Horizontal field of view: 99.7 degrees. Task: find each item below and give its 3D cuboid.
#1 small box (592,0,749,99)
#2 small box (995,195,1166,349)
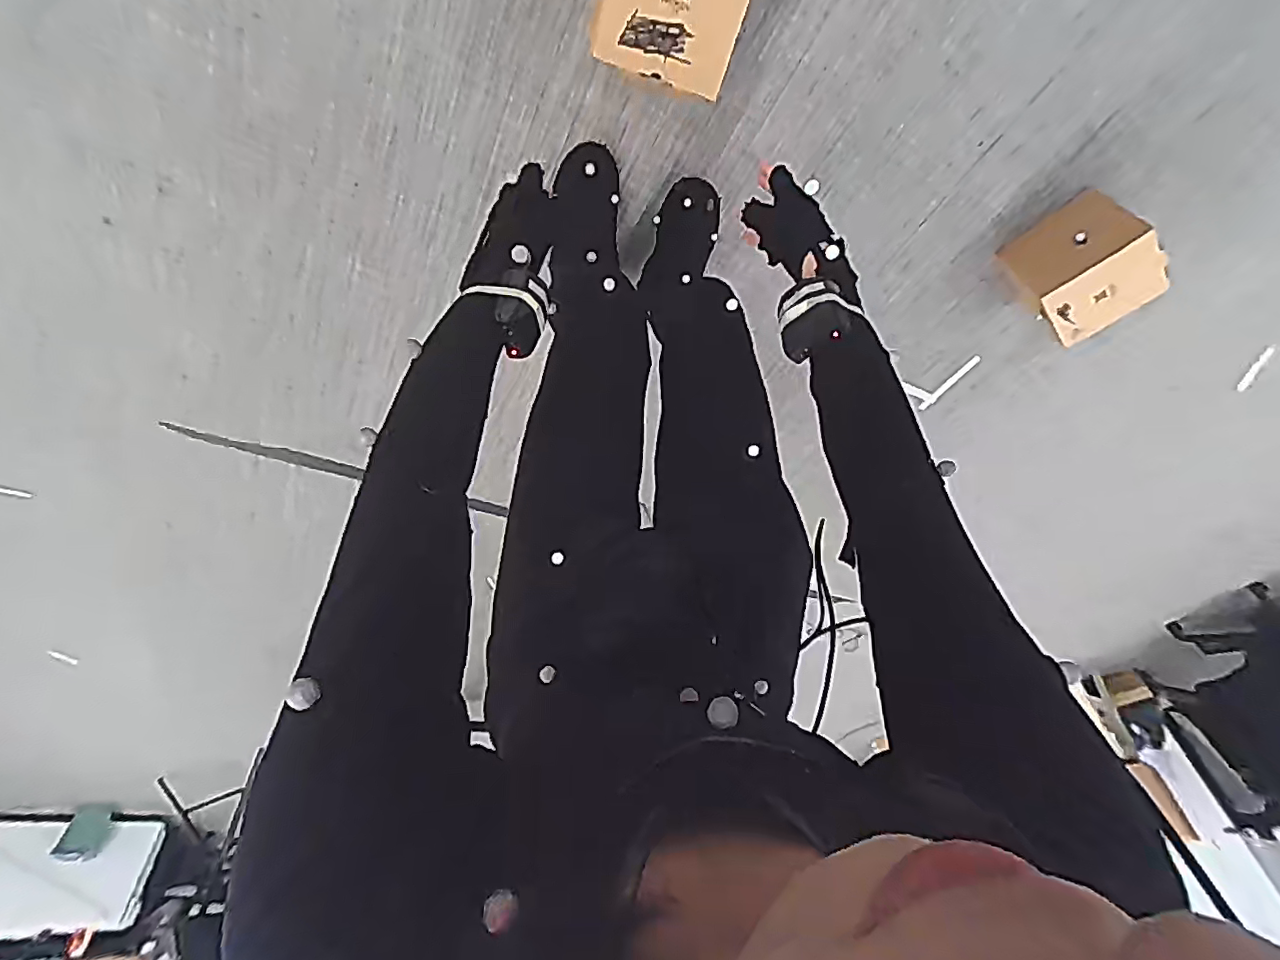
[{"bbox_3d":[0.040,-0.620,0.671,0.168,0.176,0.179,9,136,-16],"label":"small box"},{"bbox_3d":[0.821,-0.392,1.019,0.168,0.176,0.179,31,127,-34],"label":"small box"}]
